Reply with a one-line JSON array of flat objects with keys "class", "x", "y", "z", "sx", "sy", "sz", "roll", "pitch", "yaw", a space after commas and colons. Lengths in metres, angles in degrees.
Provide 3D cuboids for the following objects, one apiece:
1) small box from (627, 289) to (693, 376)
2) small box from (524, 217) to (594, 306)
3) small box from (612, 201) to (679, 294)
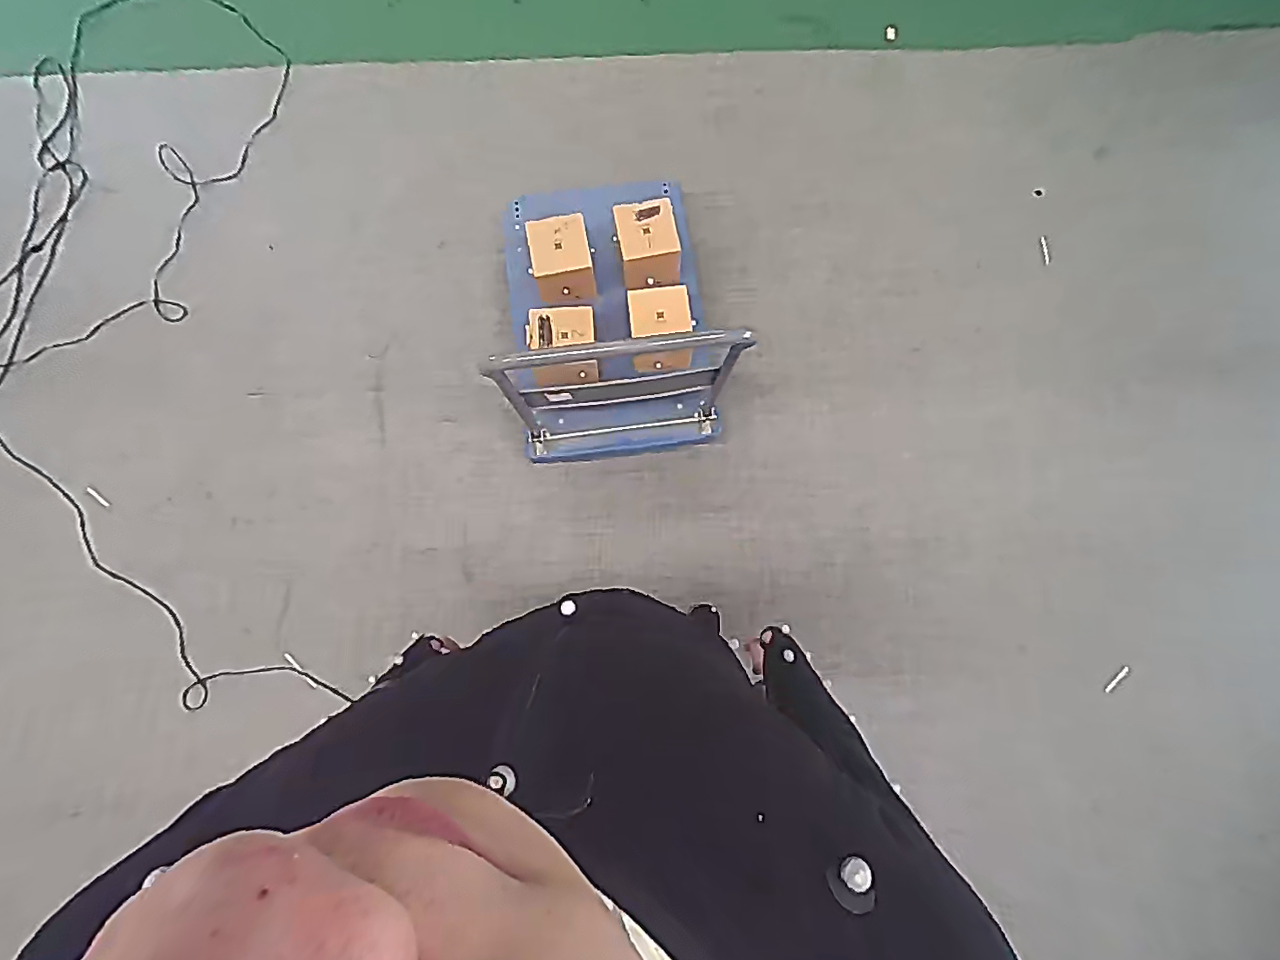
[{"class": "small box", "x": 0.052, "y": -0.416, "z": 1.541, "sx": 0.168, "sy": 0.176, "sz": 0.179, "roll": -7, "pitch": 79, "yaw": -2}, {"class": "small box", "x": -0.232, "y": -0.628, "z": 1.583, "sx": 0.168, "sy": 0.176, "sz": 0.179, "roll": -11, "pitch": 79, "yaw": -3}, {"class": "small box", "x": 0.015, "y": -0.679, "z": 1.592, "sx": 0.168, "sy": 0.176, "sz": 0.179, "roll": -11, "pitch": 80, "yaw": -1}]
